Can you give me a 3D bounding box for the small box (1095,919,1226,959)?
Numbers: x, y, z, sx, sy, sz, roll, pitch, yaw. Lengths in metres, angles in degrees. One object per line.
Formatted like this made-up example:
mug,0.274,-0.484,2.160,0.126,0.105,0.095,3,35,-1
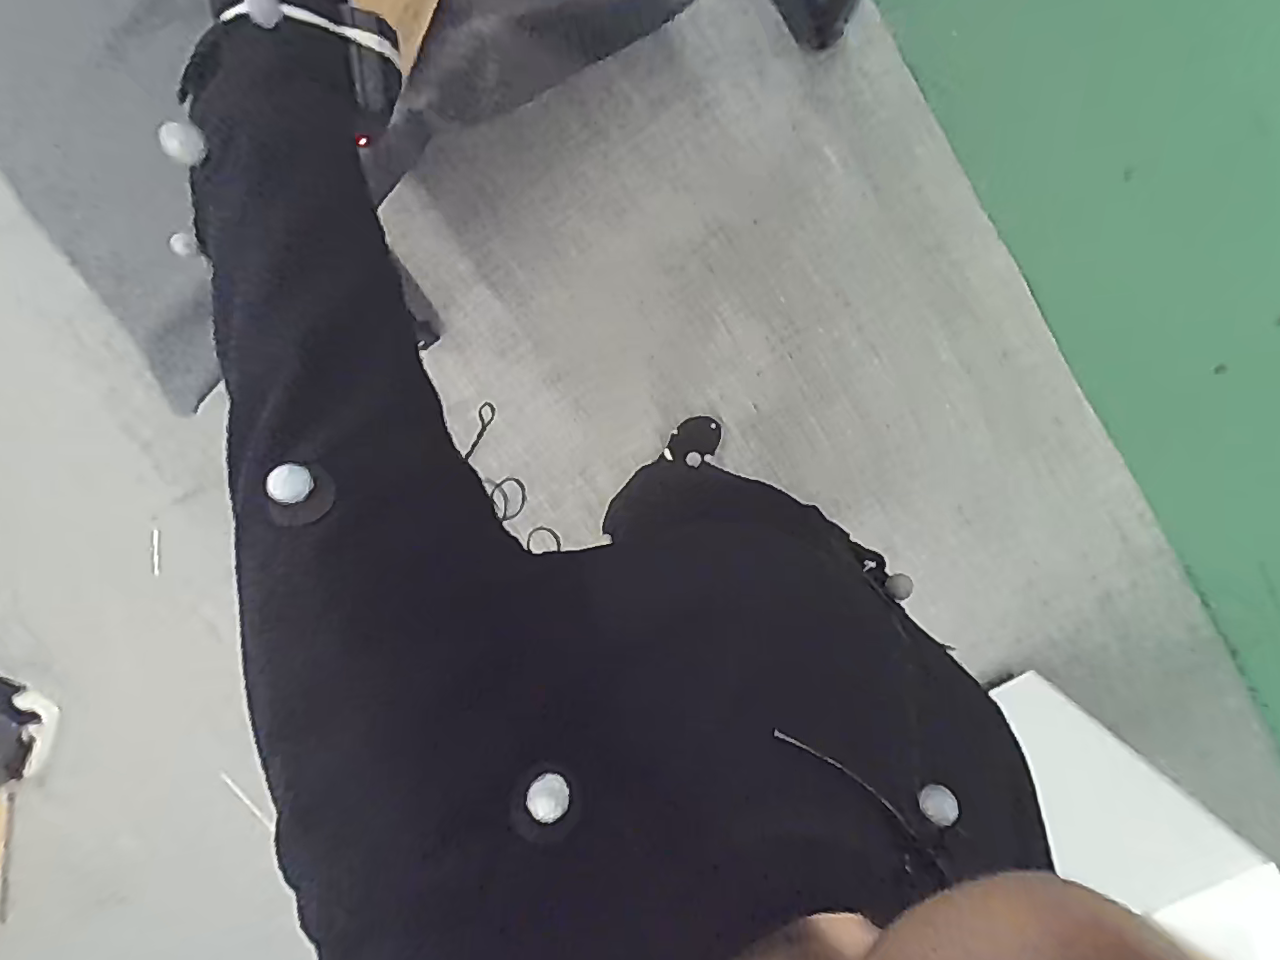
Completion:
small box,0.809,0.790,0.773,0.179,0.176,0.168,32,101,-3
